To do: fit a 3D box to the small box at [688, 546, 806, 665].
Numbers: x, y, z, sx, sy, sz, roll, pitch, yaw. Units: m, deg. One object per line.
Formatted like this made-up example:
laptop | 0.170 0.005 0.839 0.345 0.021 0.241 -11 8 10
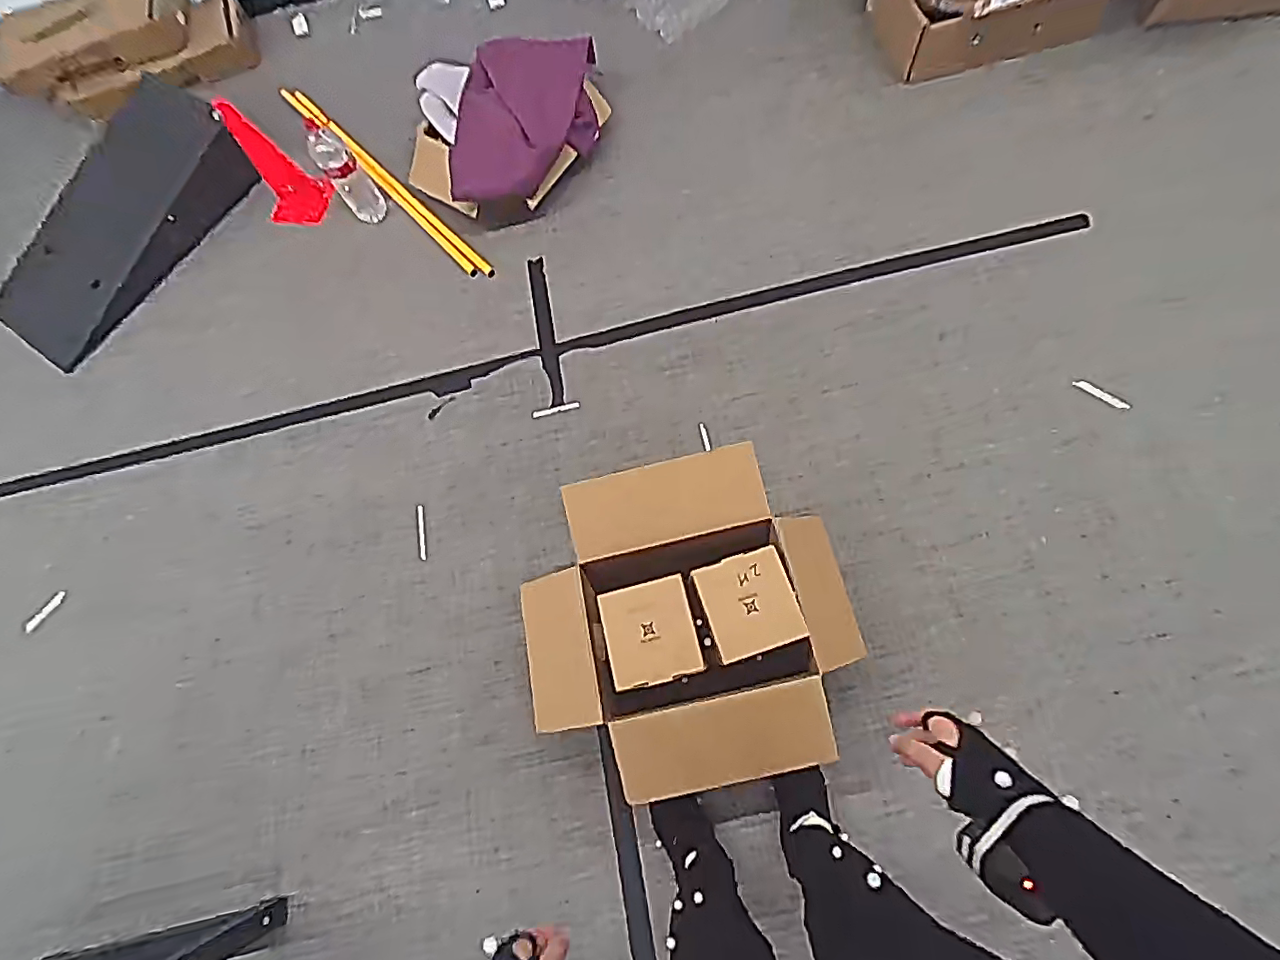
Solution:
small box | 0.198 0.248 1.053 0.168 0.176 0.179 -18 72 -4
